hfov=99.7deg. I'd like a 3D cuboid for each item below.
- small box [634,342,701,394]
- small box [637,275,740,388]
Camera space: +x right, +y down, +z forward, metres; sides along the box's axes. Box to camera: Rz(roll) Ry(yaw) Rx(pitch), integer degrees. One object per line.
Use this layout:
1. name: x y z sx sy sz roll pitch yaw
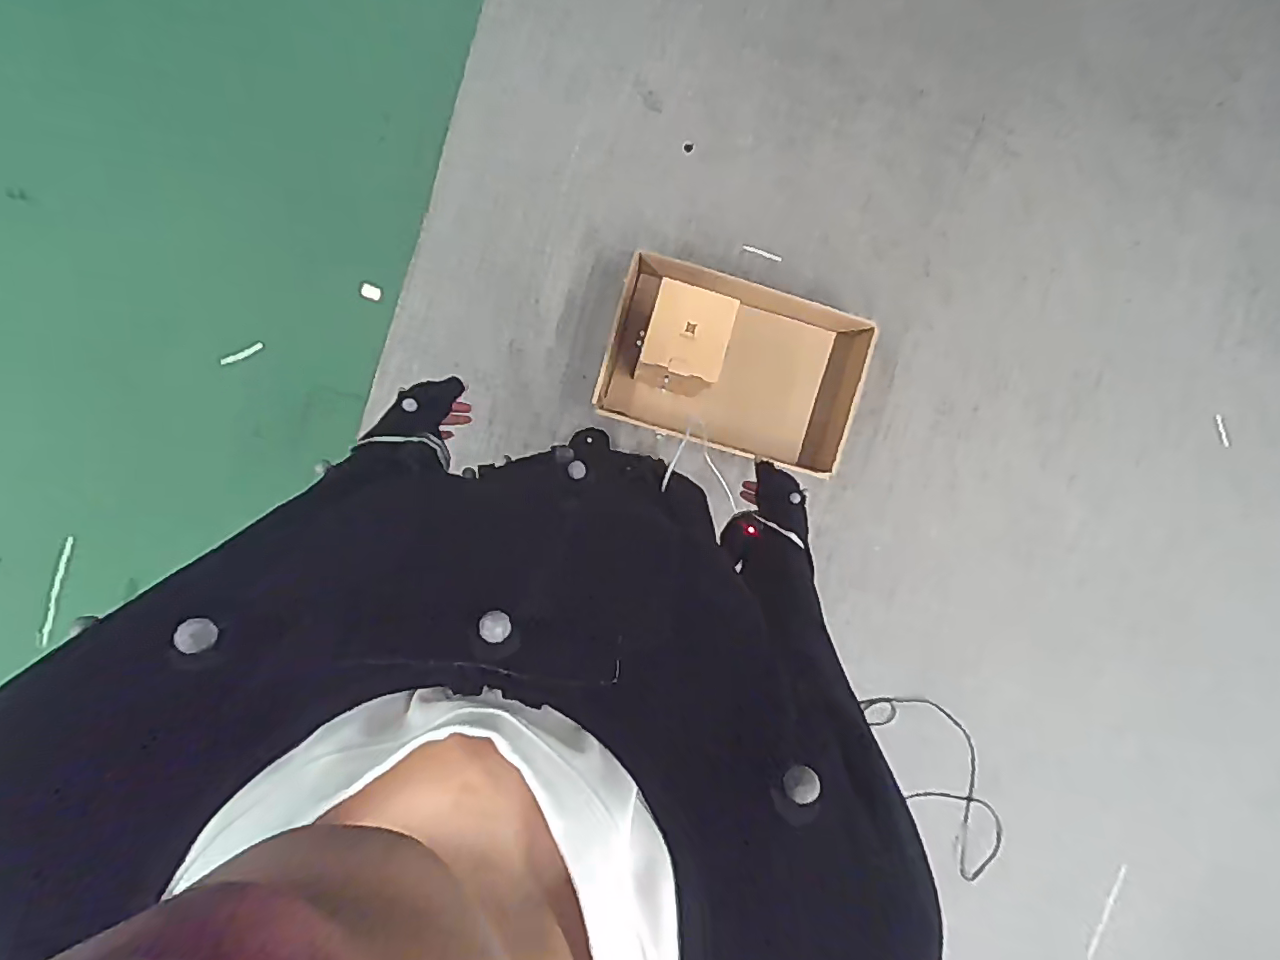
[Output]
1. small box: 0.086 -0.320 1.324 0.168 0.176 0.179 18 94 -4
2. small box: 0.095 -0.309 1.161 0.168 0.176 0.179 16 94 -5
